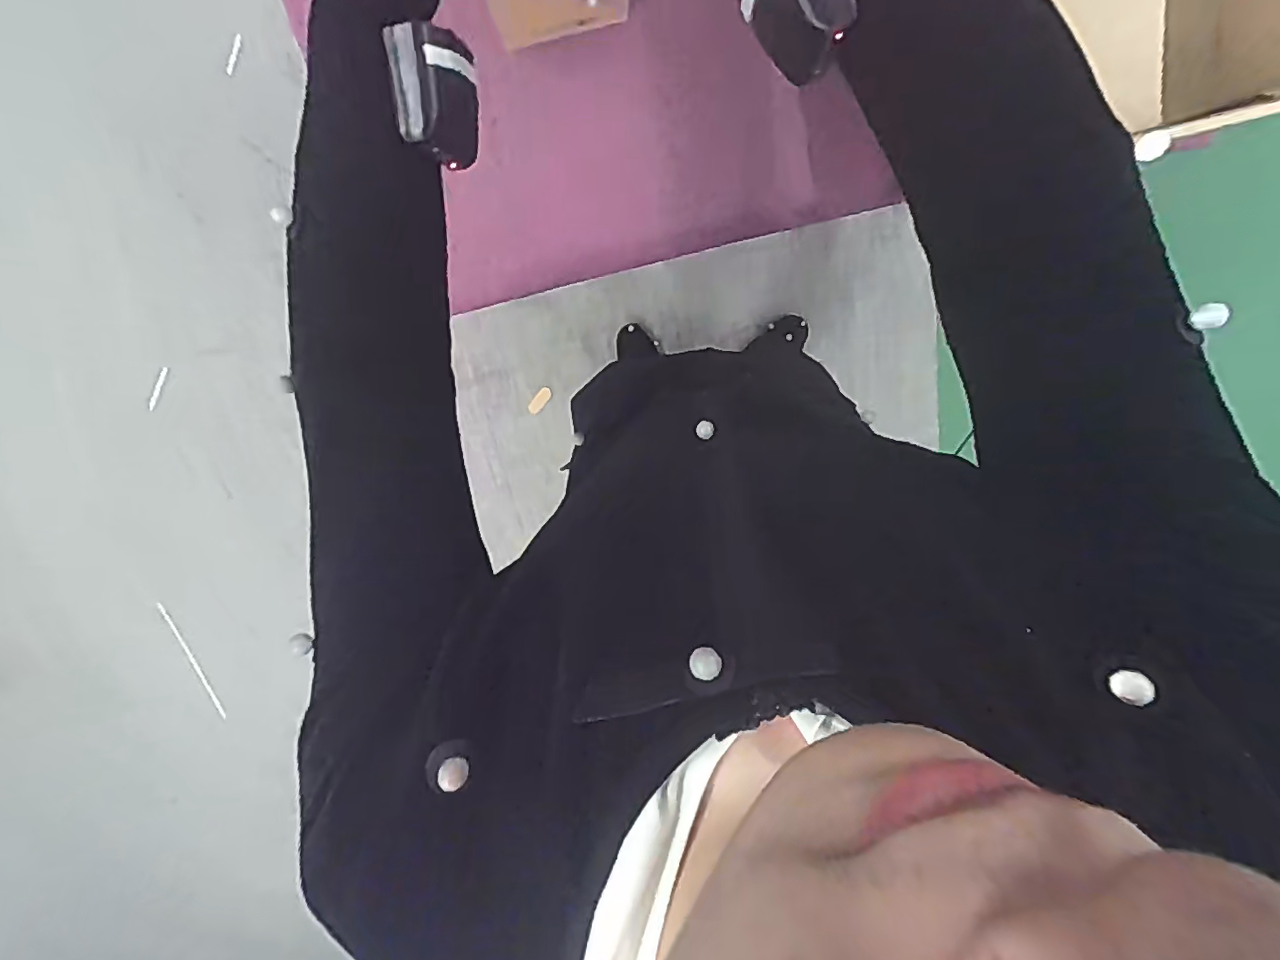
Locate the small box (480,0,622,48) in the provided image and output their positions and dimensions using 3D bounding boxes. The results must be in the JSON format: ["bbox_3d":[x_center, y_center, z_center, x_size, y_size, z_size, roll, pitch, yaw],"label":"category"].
[{"bbox_3d":[-0.115,-0.635,0.616,0.168,0.176,0.179,-13,107,1],"label":"small box"}]
